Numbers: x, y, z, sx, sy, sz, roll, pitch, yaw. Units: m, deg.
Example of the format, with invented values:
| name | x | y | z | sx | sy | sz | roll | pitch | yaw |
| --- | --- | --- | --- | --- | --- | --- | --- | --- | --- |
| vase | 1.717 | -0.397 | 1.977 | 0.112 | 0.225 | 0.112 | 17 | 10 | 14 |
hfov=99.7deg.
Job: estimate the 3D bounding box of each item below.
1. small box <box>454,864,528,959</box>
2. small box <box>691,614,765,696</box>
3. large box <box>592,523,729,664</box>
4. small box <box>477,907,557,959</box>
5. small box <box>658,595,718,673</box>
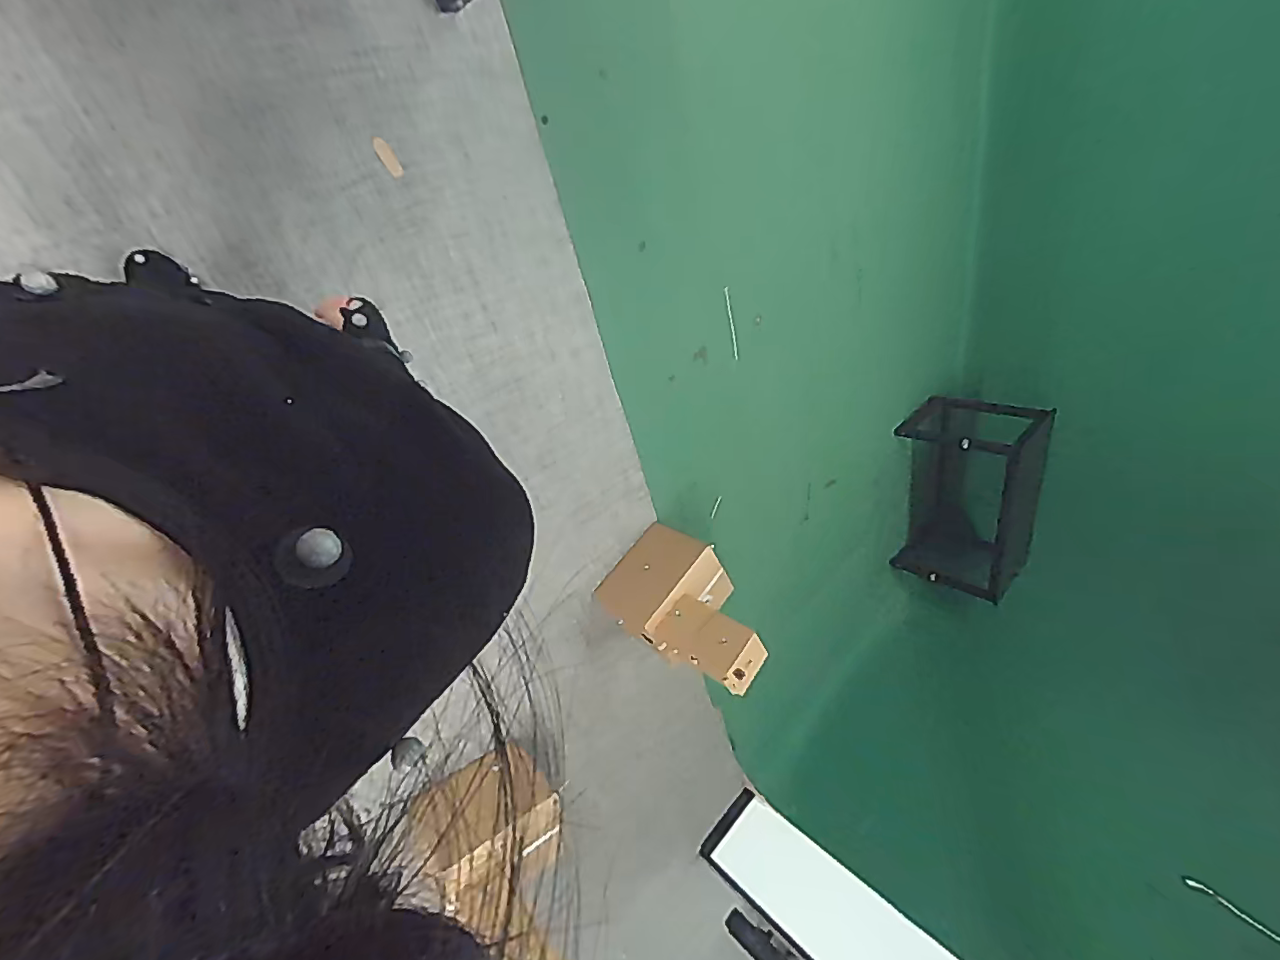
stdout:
| name | x | y | z | sx | sy | sz | roll | pitch | yaw |
| --- | --- | --- | --- | --- | --- | --- | --- | --- | --- |
| small box | -0.452 | 1.338 | 1.654 | 0.168 | 0.176 | 0.179 | -17 | 117 | -39 |
| small box | 0.296 | 0.597 | 1.854 | 0.179 | 0.176 | 0.168 | -49 | 131 | -21 |
| large box | 0.086 | 0.449 | 2.186 | 0.408 | 0.320 | 0.320 | -49 | 132 | -21 |
| small box | -0.352 | 1.384 | 1.535 | 0.179 | 0.176 | 0.168 | -15 | 116 | -39 |
| small box | 0.188 | 0.557 | 1.972 | 0.179 | 0.176 | 0.168 | -44 | 130 | -23 |
